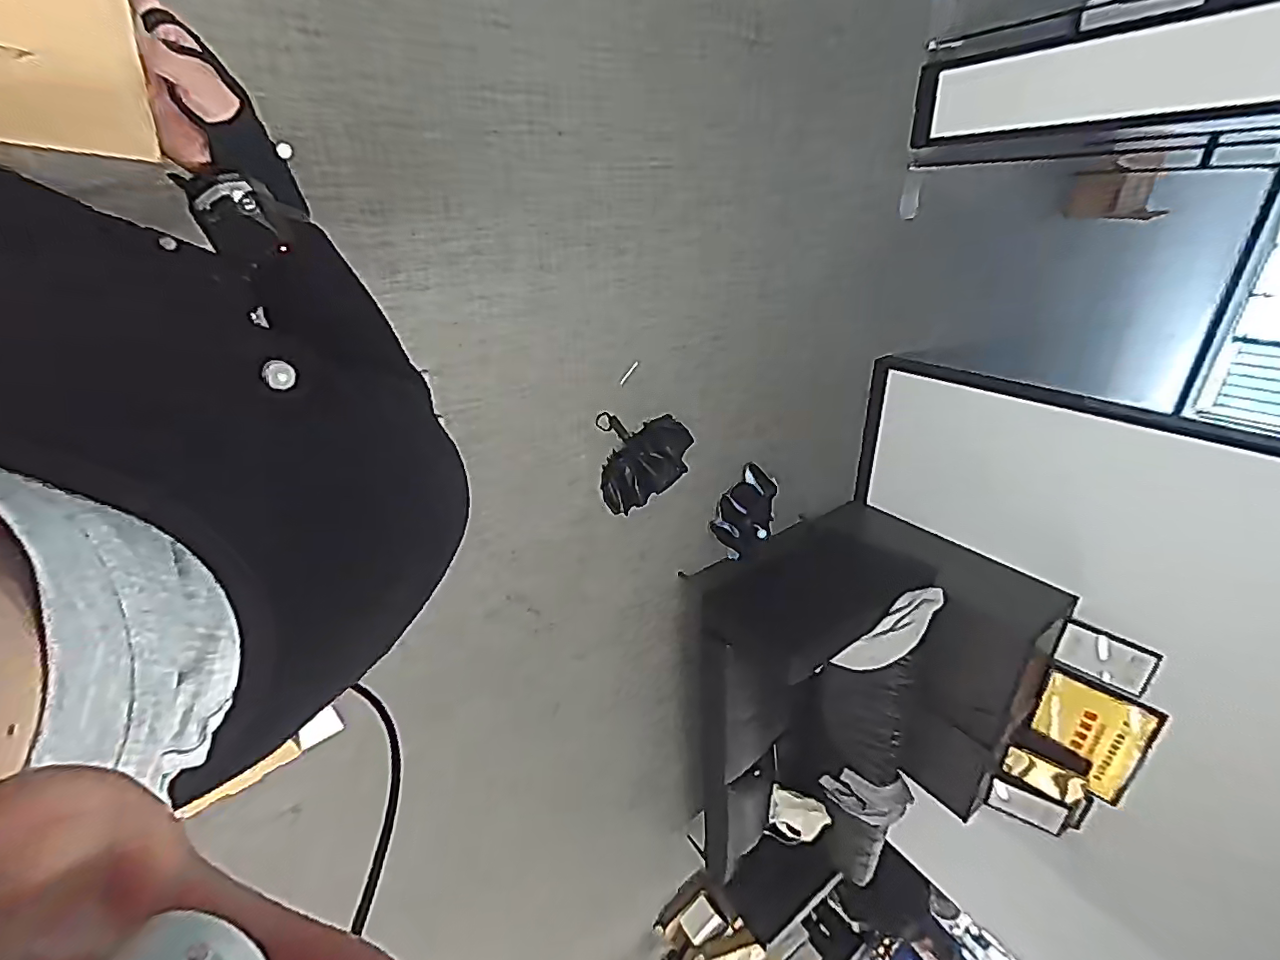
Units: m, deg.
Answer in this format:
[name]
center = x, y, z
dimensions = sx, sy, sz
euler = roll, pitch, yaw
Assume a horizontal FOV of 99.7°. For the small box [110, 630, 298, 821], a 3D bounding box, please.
[small box]
center = -0.668, 0.375, 0.849
dimensions = 0.168, 0.176, 0.179
euler = -25, 126, -26
